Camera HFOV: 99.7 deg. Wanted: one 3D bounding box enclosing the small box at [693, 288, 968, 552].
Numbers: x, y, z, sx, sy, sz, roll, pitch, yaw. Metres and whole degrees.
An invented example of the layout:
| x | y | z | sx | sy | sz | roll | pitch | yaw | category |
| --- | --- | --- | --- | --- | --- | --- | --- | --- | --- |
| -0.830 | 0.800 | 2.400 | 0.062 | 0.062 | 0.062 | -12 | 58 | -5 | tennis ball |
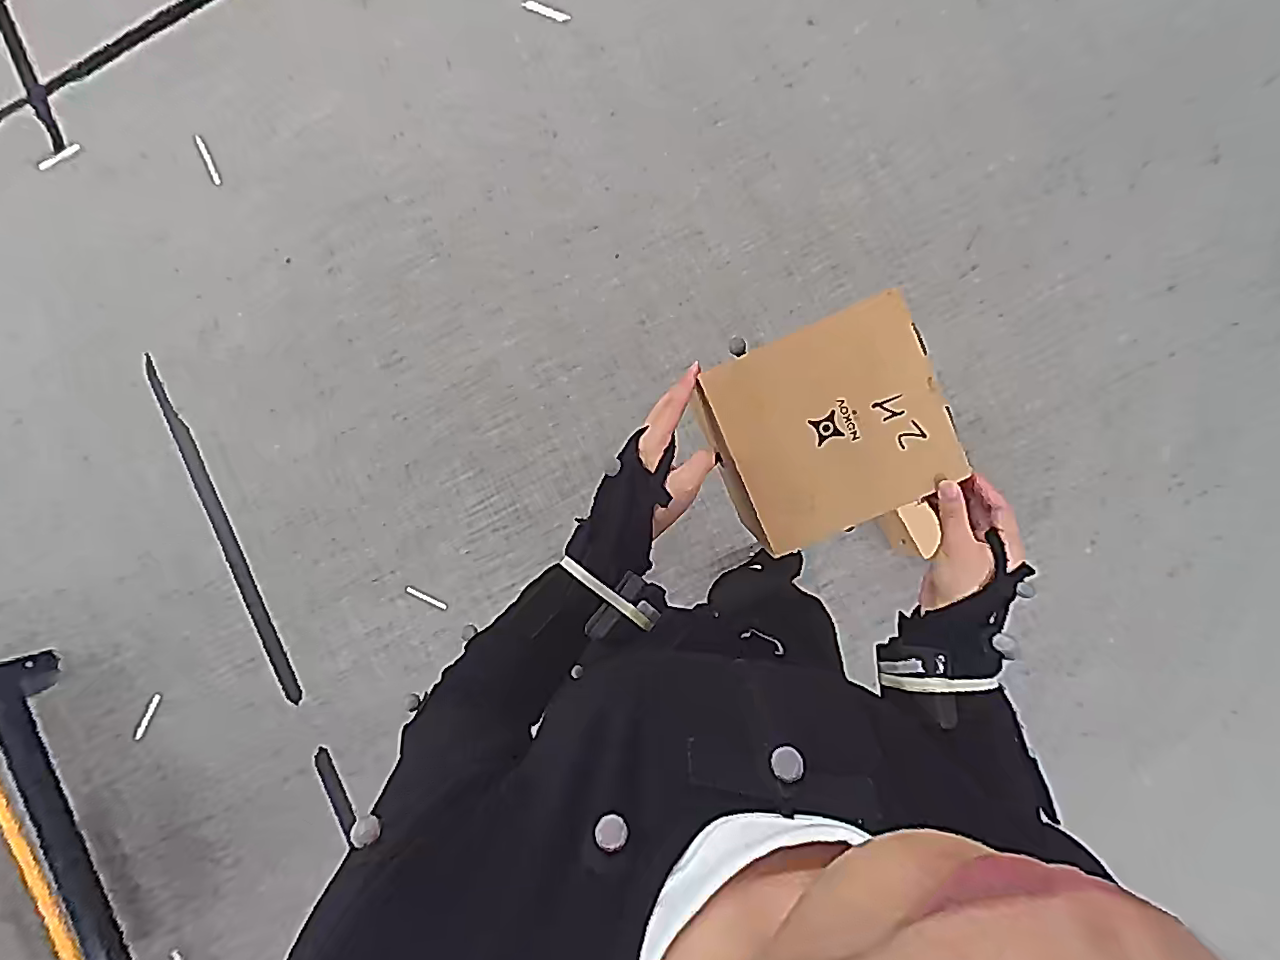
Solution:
| x | y | z | sx | sy | sz | roll | pitch | yaw | category |
| --- | --- | --- | --- | --- | --- | --- | --- | --- | --- |
| 0.158 | -0.053 | 0.515 | 0.179 | 0.176 | 0.168 | -24 | 95 | 4 | small box |
